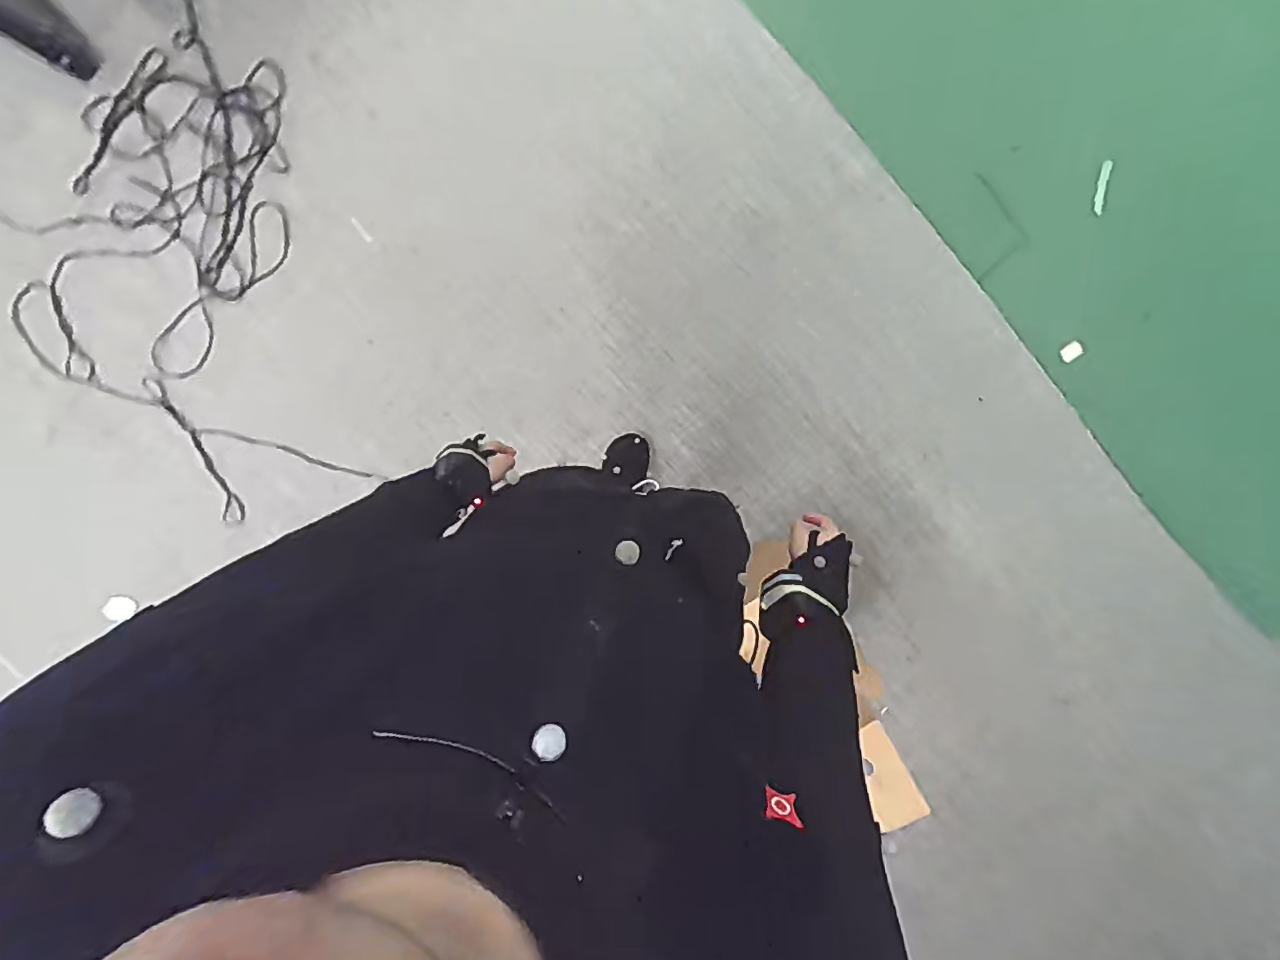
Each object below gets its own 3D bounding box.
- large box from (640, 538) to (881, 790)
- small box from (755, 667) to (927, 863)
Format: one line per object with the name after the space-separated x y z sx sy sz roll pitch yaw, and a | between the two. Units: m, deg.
0.251 0.394 1.245 0.408 0.320 0.320 -35 94 6 | large box
0.293 0.428 0.838 0.179 0.176 0.168 -30 97 4 | small box
